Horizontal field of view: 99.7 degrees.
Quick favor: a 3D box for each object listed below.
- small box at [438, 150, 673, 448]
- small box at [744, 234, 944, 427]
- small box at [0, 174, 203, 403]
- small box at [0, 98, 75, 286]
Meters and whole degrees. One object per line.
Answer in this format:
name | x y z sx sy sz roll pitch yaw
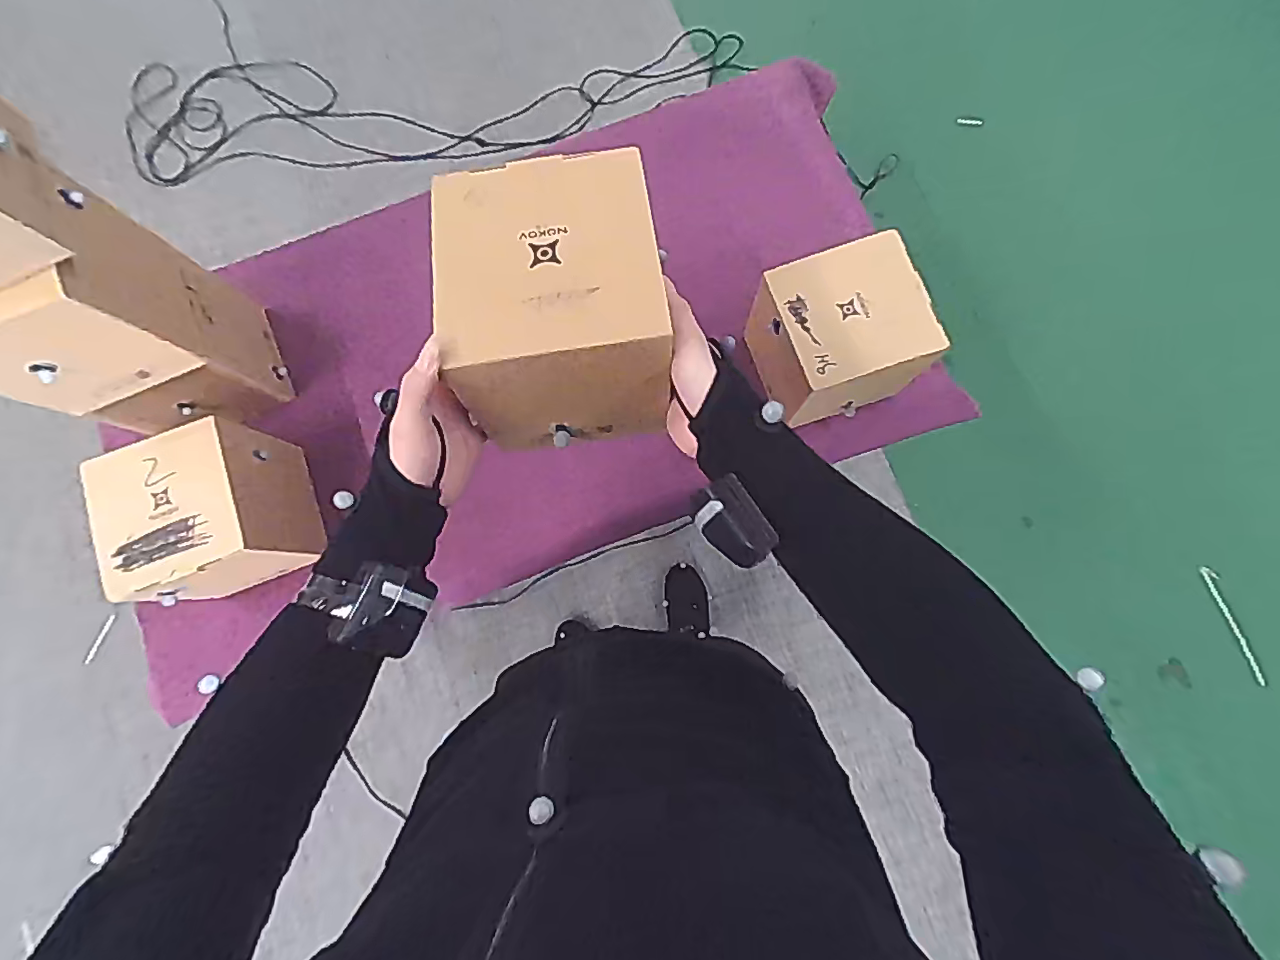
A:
small box | -0.065 -0.146 0.476 0.168 0.176 0.179 -8 72 0
small box | 0.257 -0.189 0.728 0.179 0.176 0.168 -18 79 -2
small box | -0.629 -0.199 0.587 0.168 0.176 0.179 -24 80 -3
small box | -0.632 -0.255 0.429 0.179 0.176 0.168 -27 81 -3
